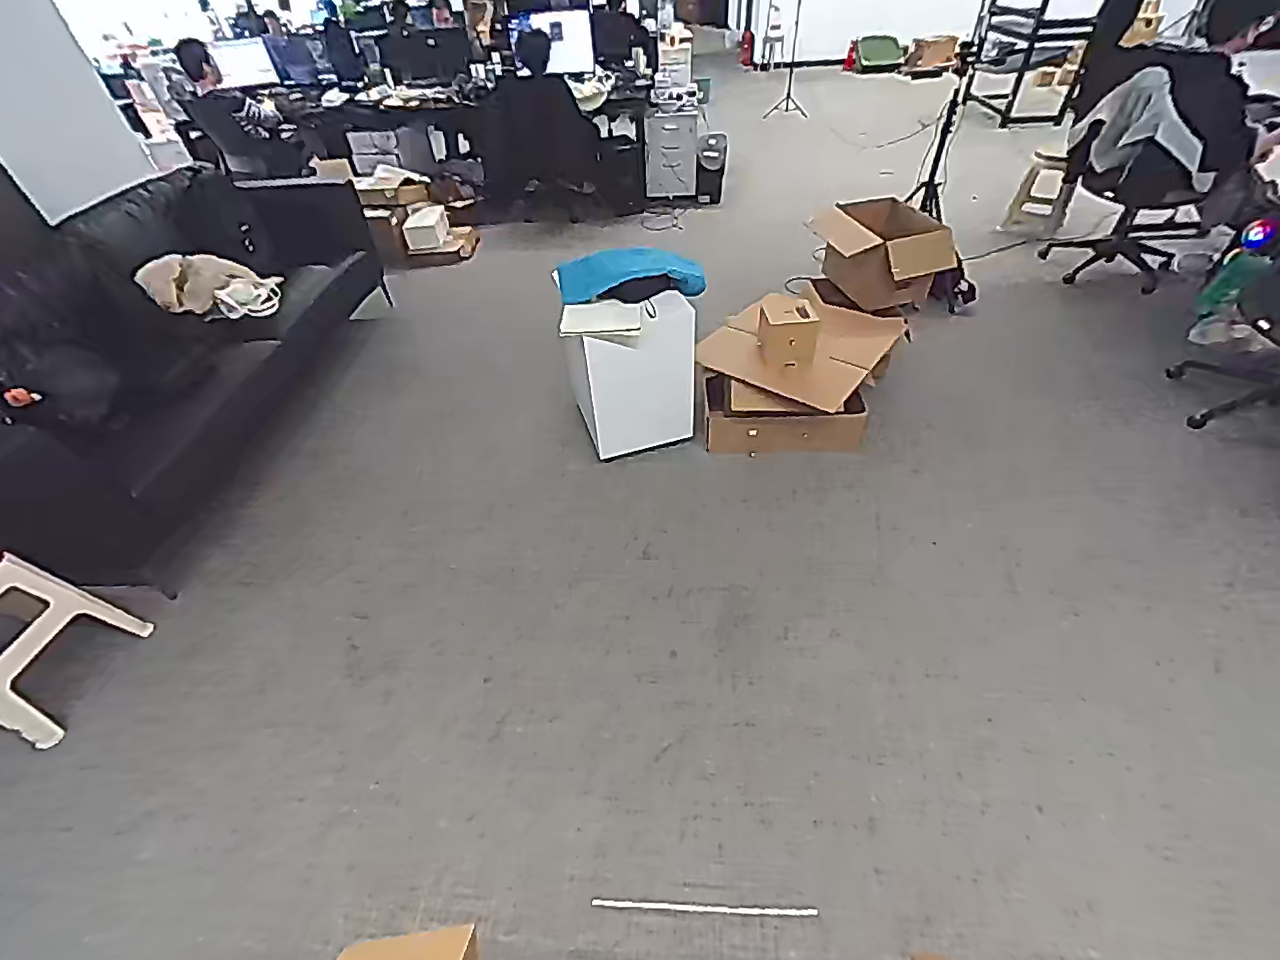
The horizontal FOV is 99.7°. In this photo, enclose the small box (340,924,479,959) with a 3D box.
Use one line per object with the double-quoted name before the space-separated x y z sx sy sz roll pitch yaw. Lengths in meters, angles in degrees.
"small box" -0.284 0.663 0.617 0.168 0.179 0.176 -6 80 -5
